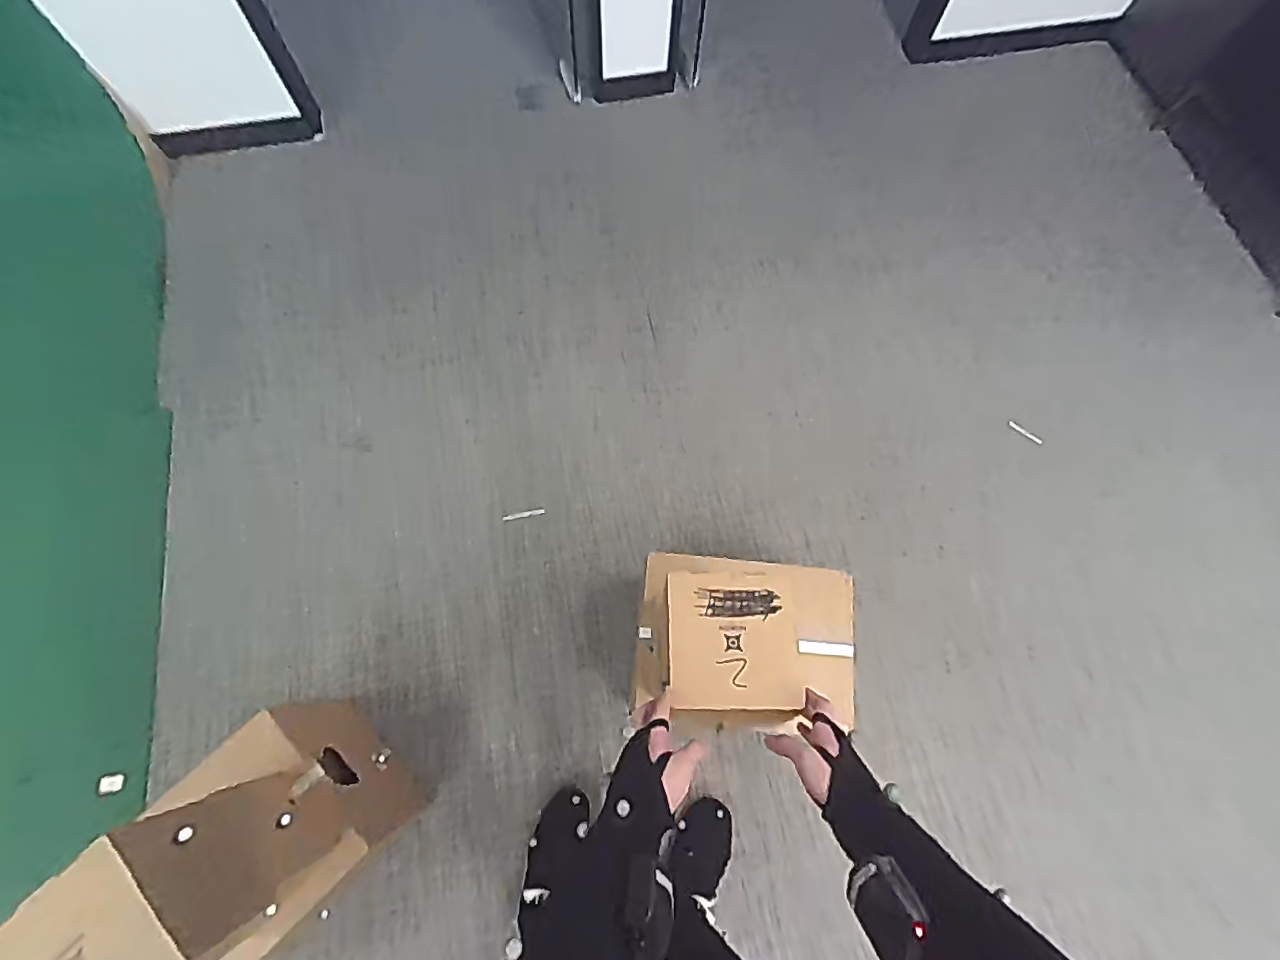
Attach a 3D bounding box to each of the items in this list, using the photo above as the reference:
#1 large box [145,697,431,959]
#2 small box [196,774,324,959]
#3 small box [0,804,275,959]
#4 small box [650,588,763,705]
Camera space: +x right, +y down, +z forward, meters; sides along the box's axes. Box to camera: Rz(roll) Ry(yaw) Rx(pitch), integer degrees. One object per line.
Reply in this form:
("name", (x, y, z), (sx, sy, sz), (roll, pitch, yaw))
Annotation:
("large box", (-0.690, 0.680, 1.021), (0.320, 0.320, 0.408), (43, 76, 13))
("small box", (-0.610, 0.573, 0.801), (0.168, 0.176, 0.179), (43, 75, 12))
("small box", (-0.597, 0.524, 0.646), (0.168, 0.176, 0.179), (-42, 78, -14))
("small box", (0.105, 0.282, 0.929), (0.168, 0.176, 0.179), (-1, 73, -3))
